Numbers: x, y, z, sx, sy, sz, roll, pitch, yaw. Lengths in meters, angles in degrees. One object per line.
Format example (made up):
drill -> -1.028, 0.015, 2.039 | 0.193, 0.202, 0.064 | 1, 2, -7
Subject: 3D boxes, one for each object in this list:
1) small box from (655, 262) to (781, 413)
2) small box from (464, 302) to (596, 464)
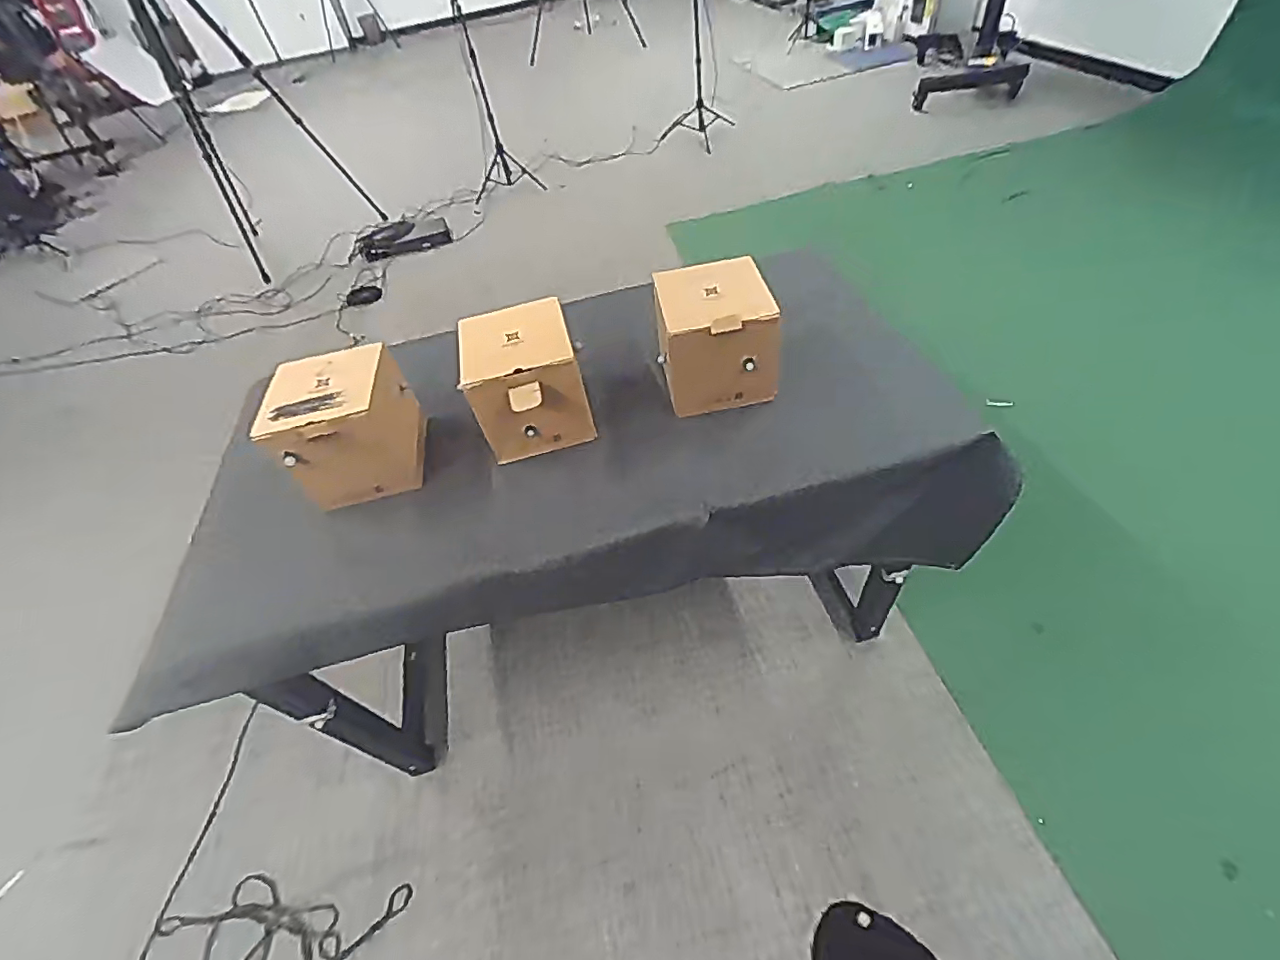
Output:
small box -> 0.123, -0.224, 0.882 | 0.168, 0.176, 0.179 | -10, 48, 0
small box -> -0.176, -0.155, 0.874 | 0.168, 0.176, 0.179 | -15, 50, -4
